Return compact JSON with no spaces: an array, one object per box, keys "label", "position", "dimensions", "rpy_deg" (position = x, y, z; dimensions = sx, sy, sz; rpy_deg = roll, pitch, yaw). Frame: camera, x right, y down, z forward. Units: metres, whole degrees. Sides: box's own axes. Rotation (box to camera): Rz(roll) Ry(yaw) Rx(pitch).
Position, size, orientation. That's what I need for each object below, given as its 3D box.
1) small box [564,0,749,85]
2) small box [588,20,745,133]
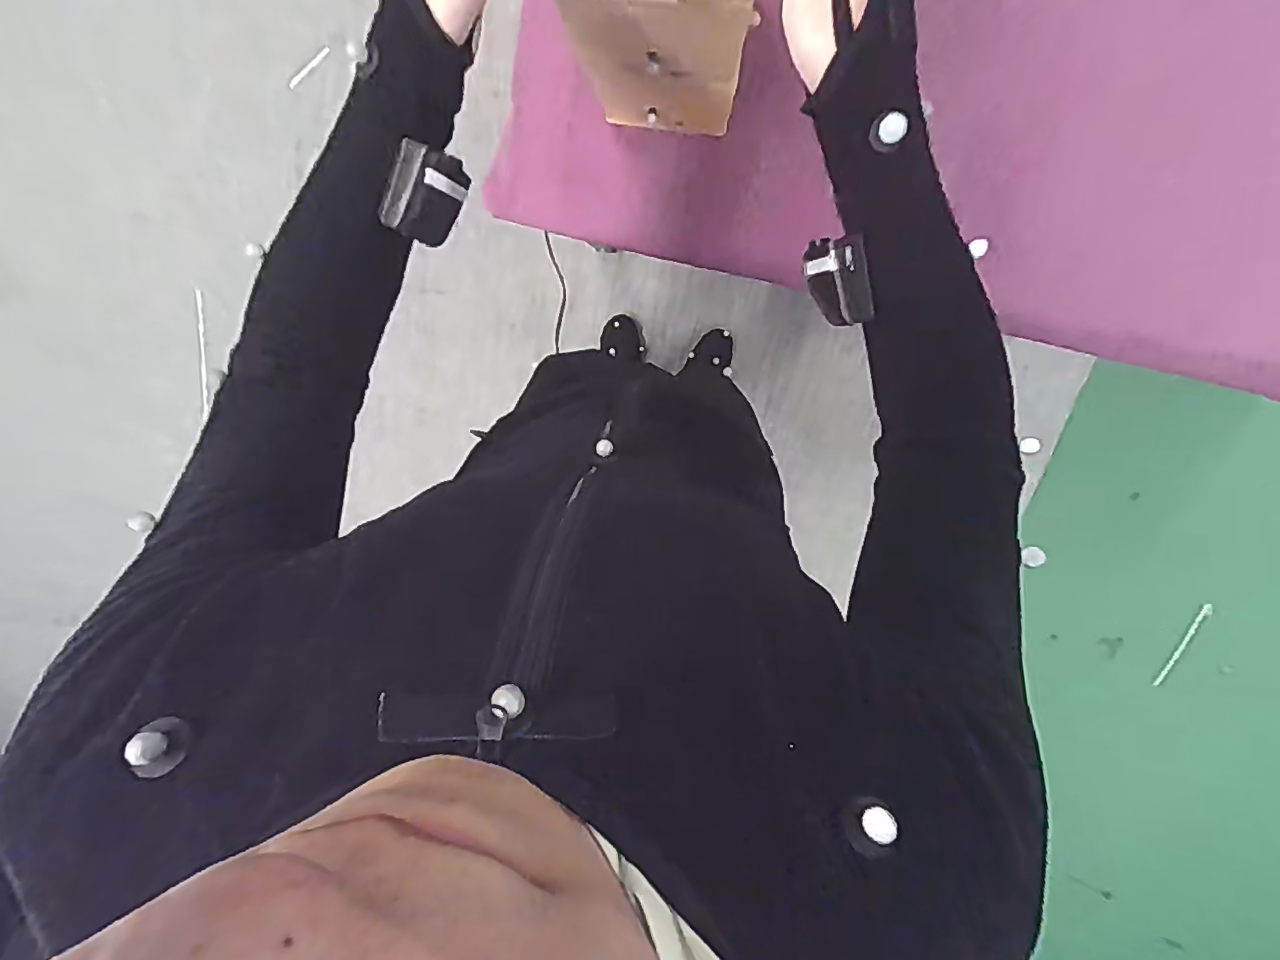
[{"label":"small box","position":[0.019,-0.492,0.480],"dimensions":[0.168,0.176,0.179],"rpy_deg":[7,108,2]},{"label":"small box","position":[0.036,-0.540,0.636],"dimensions":[0.168,0.176,0.179],"rpy_deg":[7,108,1]}]
